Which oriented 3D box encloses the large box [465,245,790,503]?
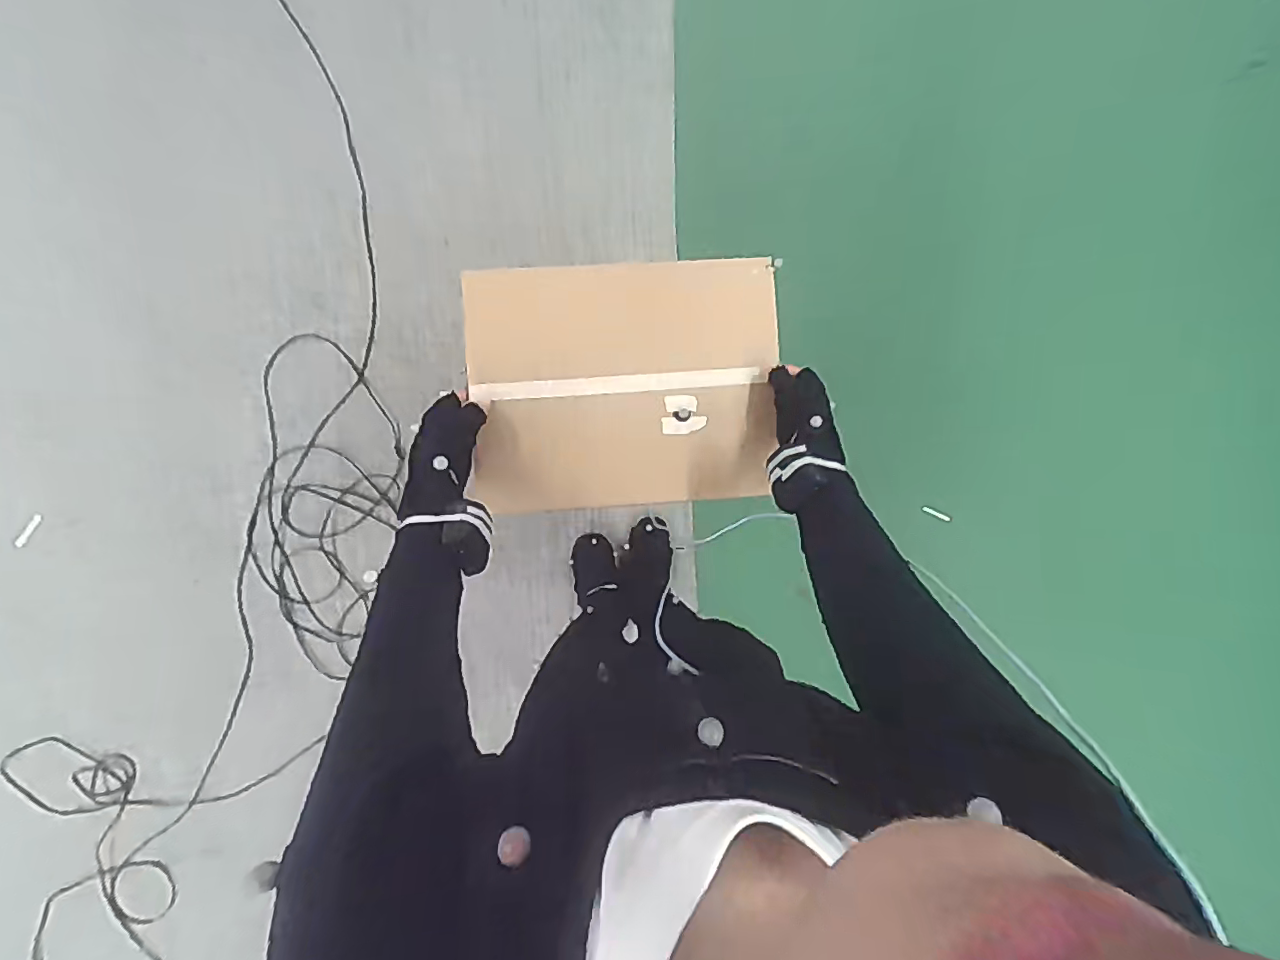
[{"bbox_3d":[-0.025,-0.137,0.840,0.408,0.320,0.320,-4,90,-5],"label":"large box"}]
